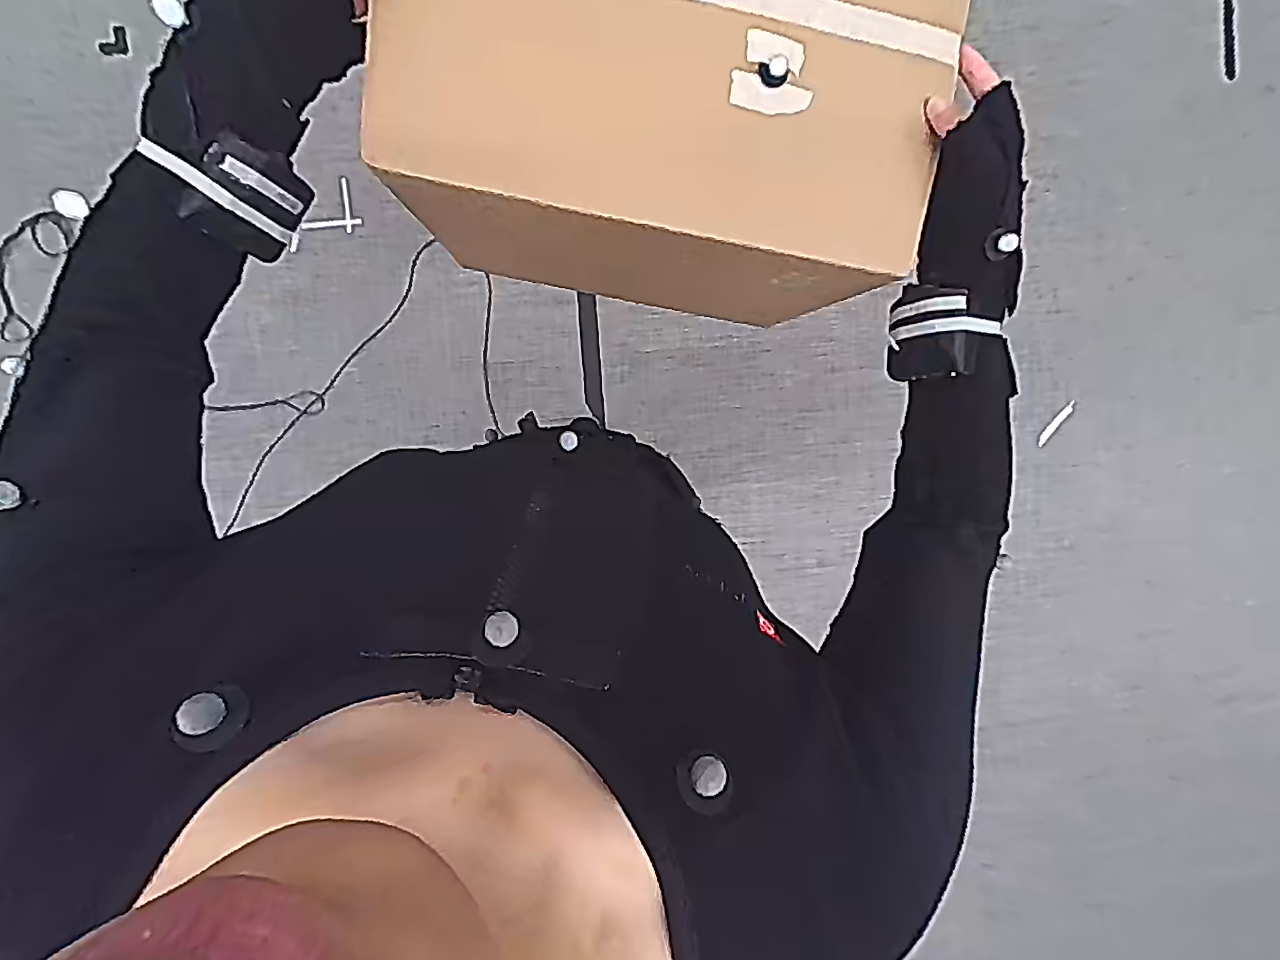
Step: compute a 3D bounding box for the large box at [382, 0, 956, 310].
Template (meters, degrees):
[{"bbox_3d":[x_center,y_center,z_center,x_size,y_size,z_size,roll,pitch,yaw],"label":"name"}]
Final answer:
[{"bbox_3d":[0.016,-0.372,0.525,0.408,0.320,0.320,7,99,-8],"label":"large box"}]
